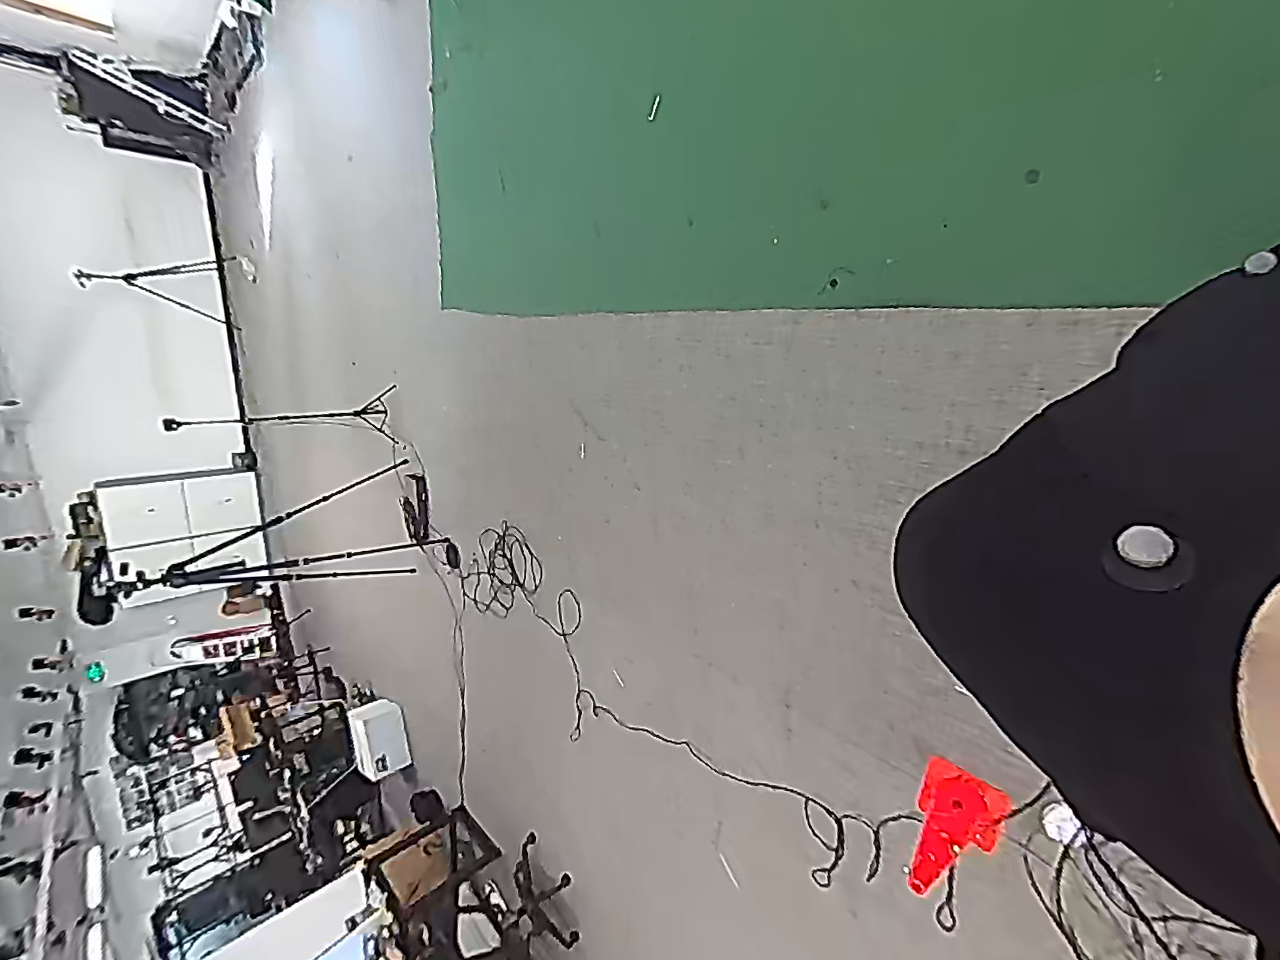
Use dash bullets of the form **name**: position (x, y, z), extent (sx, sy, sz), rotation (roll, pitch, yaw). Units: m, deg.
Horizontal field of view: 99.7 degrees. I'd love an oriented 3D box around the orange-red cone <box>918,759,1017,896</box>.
- **orange-red cone**: position (0.787, 0.921, 1.376), extent (0.198, 0.360, 0.199), rotation (22, 113, 41)
